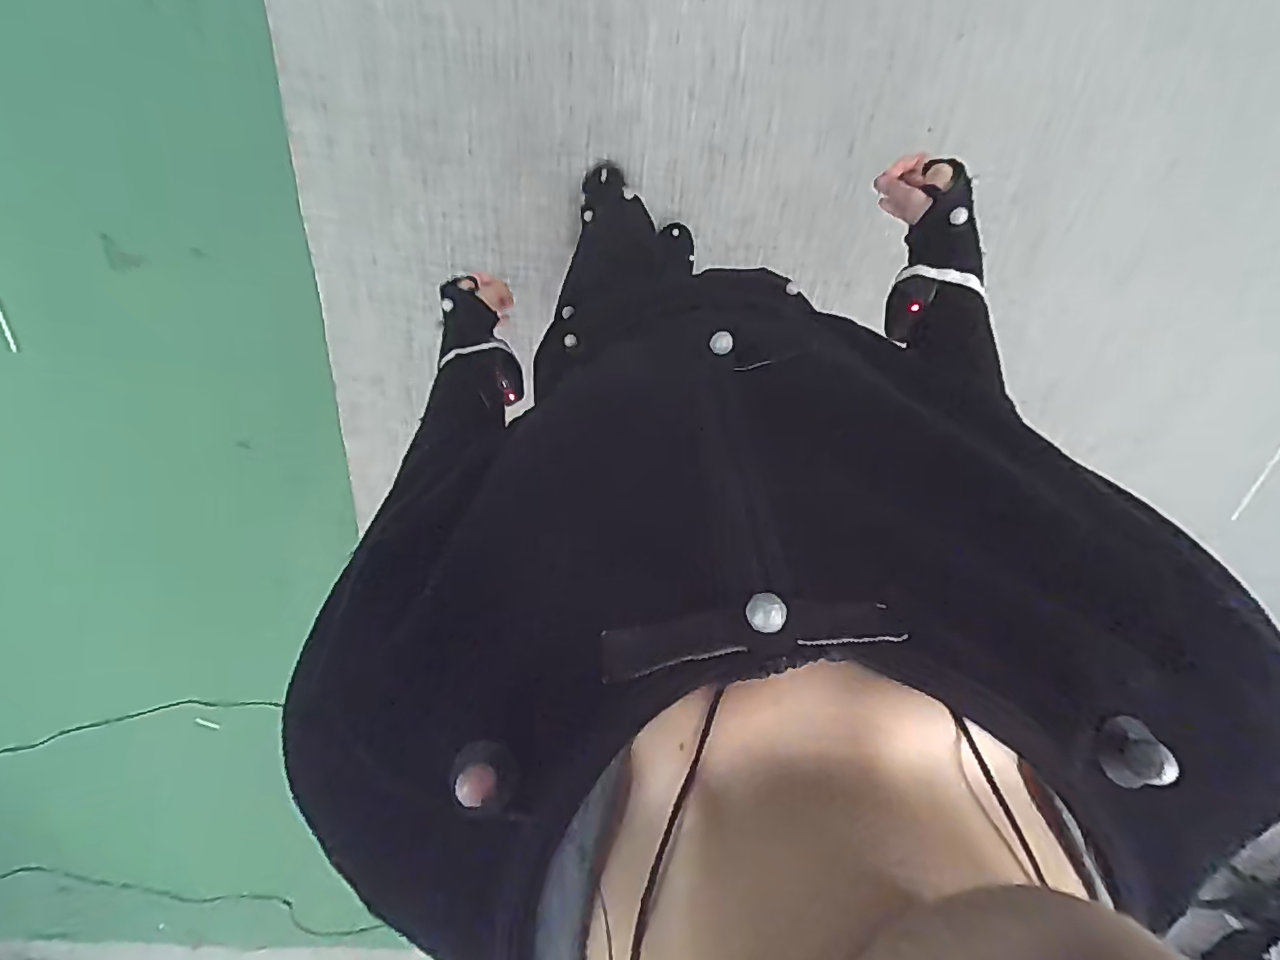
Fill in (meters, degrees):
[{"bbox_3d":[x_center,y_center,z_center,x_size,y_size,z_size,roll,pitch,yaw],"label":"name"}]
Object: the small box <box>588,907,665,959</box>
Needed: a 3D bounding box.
[{"bbox_3d":[-0.034,1.139,1.270,0.179,0.176,0.168,2,117,-3],"label":"small box"}]
